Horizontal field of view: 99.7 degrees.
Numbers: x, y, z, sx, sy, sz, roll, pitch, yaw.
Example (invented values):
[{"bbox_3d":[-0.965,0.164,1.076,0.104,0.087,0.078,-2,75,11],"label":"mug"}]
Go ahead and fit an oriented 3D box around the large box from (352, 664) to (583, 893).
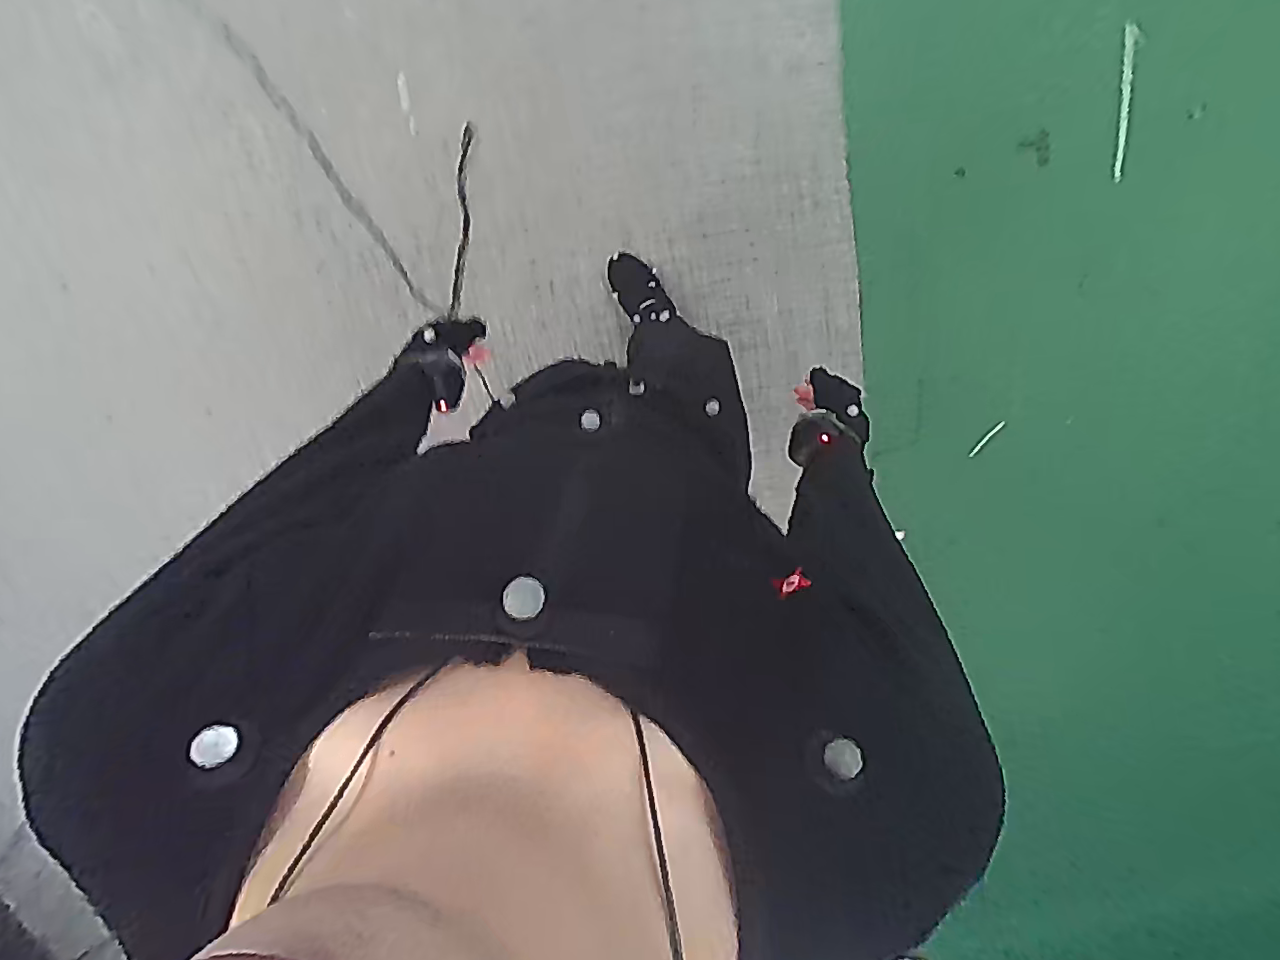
[{"bbox_3d":[-0.367,0.671,1.262,0.408,0.320,0.320,-9,104,1],"label":"large box"}]
